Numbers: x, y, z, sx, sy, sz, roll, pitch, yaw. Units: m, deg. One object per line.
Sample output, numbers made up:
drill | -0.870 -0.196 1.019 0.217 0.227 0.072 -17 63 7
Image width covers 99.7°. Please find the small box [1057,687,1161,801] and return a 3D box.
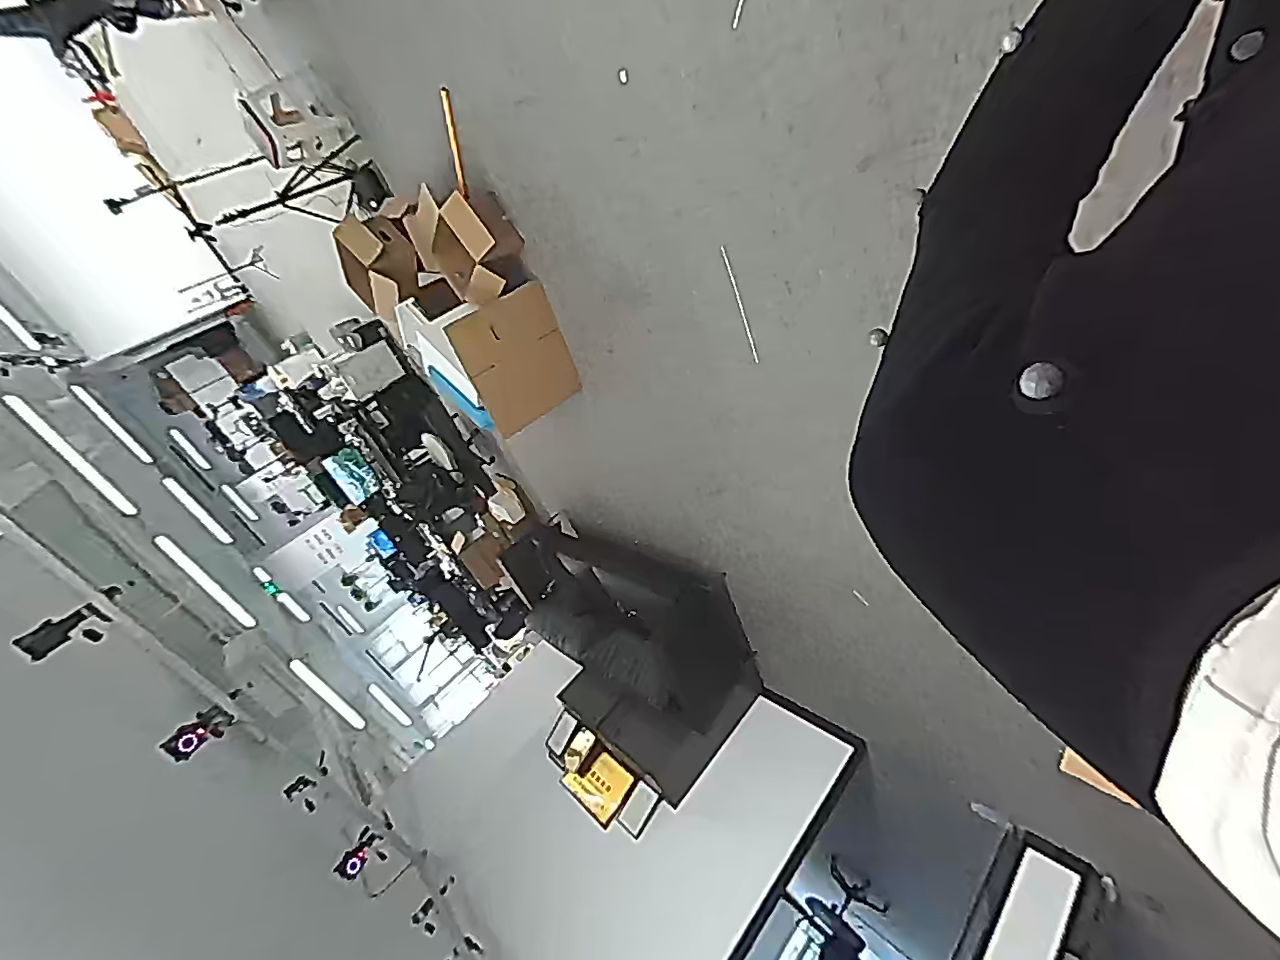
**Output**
small box | 1.221 0.678 1.408 0.168 0.176 0.179 18 141 43
